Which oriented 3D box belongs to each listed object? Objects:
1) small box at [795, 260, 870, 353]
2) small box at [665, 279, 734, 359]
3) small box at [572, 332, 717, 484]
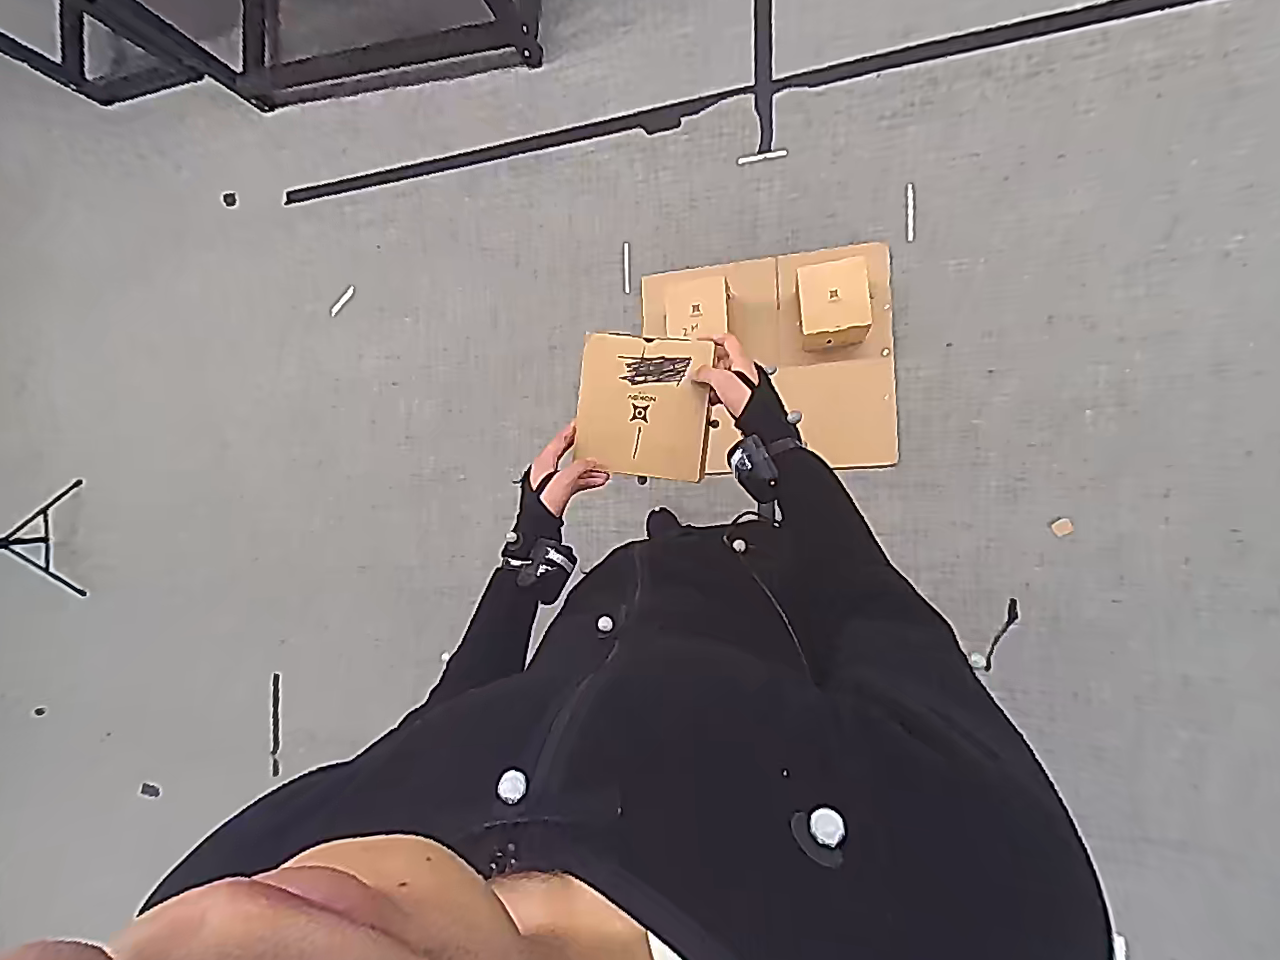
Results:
[{"bbox_3d":[0.501,-0.451,1.426,0.168,0.176,0.179,-6,89,16],"label":"small box"},{"bbox_3d":[0.169,-0.440,1.514,0.168,0.176,0.179,-3,90,17],"label":"small box"},{"bbox_3d":[0.015,-0.093,0.751,0.168,0.176,0.179,7,93,9],"label":"small box"}]
